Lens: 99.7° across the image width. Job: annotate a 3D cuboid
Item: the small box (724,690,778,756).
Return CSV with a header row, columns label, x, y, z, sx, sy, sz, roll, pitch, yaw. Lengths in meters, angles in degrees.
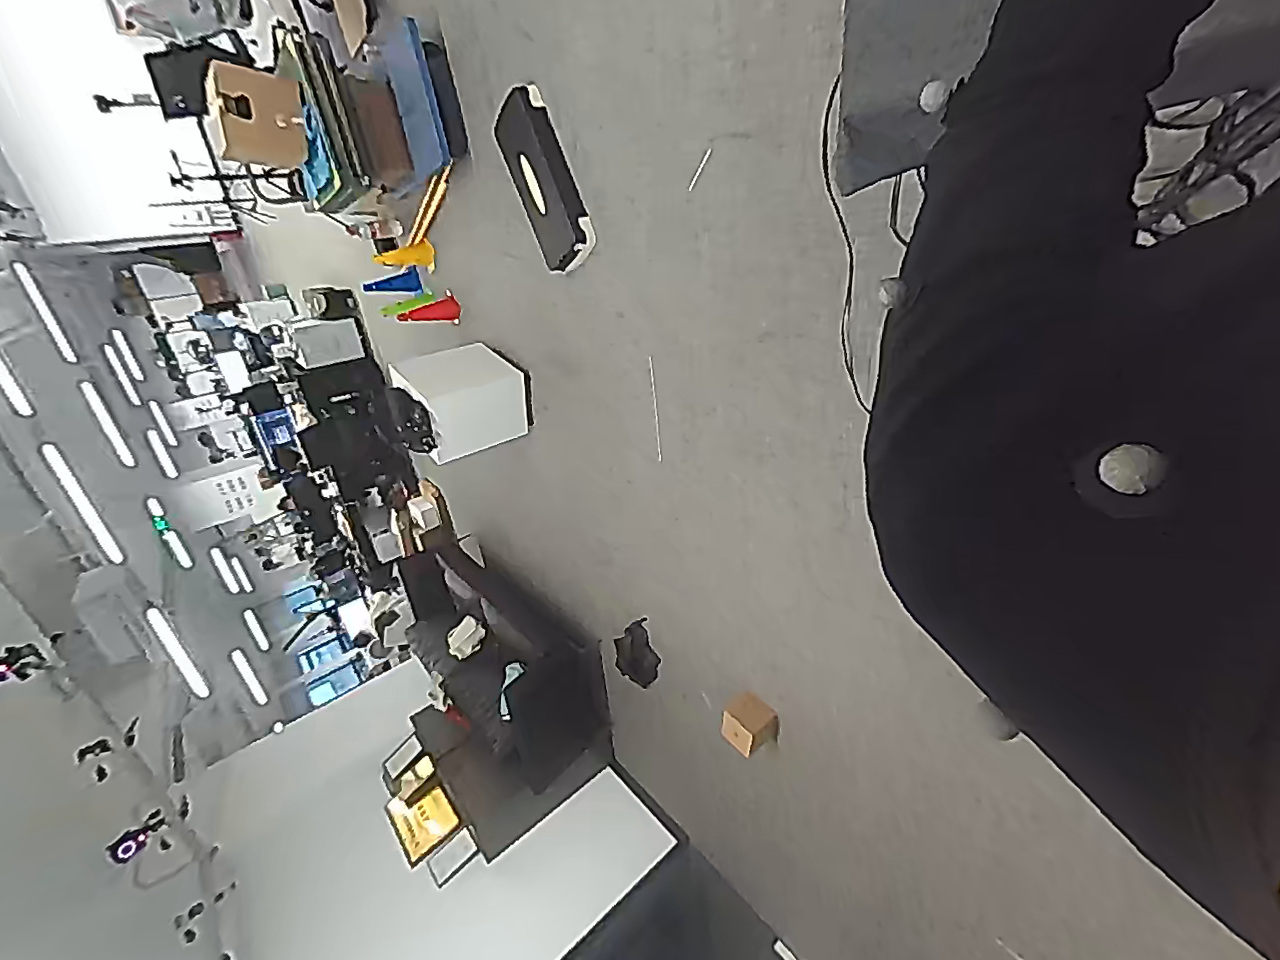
label,x,y,z,sx,sy,sz,roll,pitch,yaw
small box,0.502,1.088,2.436,0.168,0.176,0.179,32,136,42
